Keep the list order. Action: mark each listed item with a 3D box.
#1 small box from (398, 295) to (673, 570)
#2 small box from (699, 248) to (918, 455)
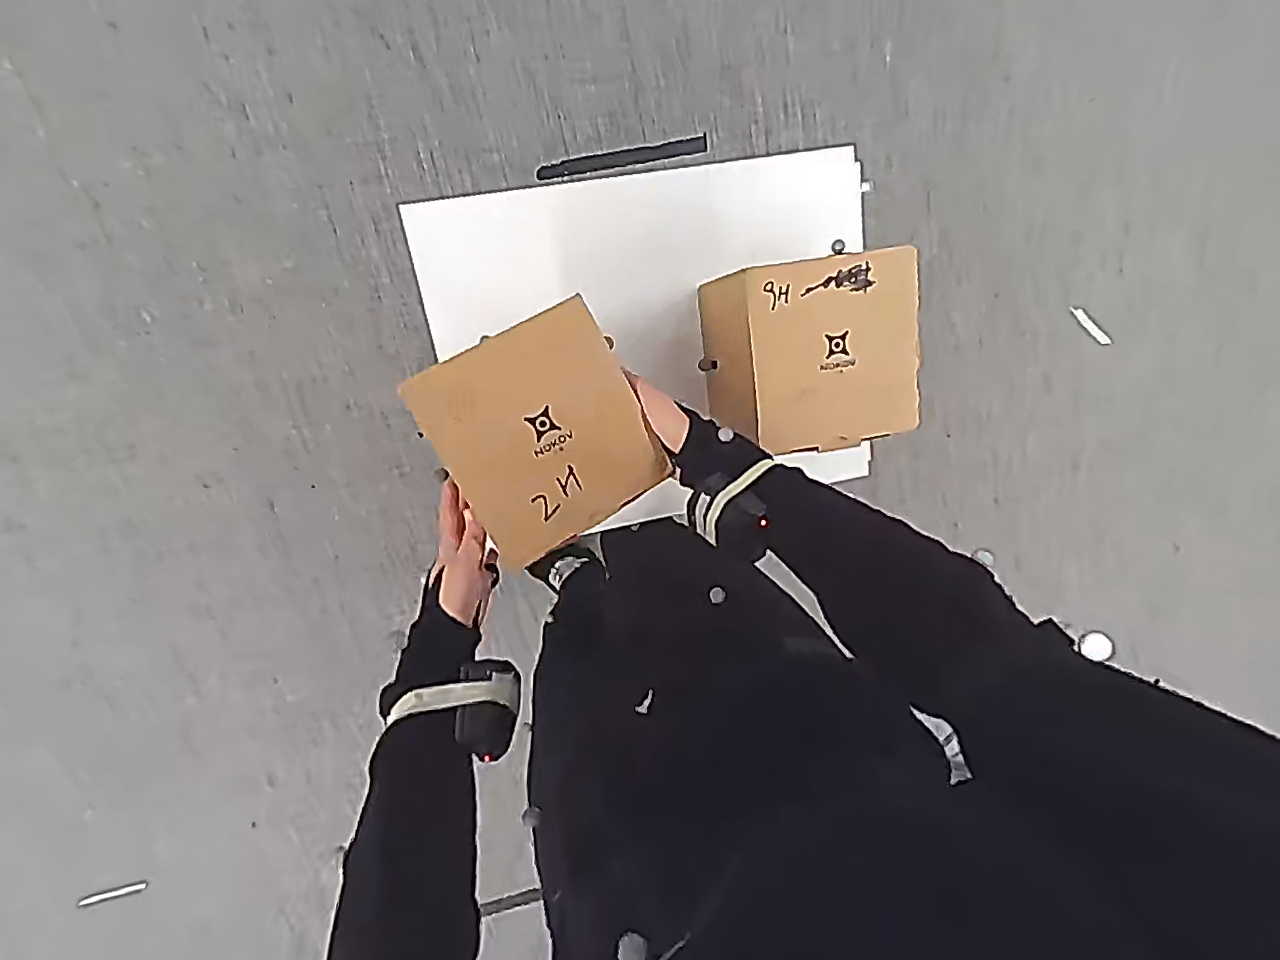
[{"bbox_3d":[-0.102,-0.043,0.515,0.168,0.176,0.179,-33,103,-14],"label":"small box"},{"bbox_3d":[0.167,-0.139,0.580,0.168,0.176,0.179,-9,107,-7],"label":"small box"}]
